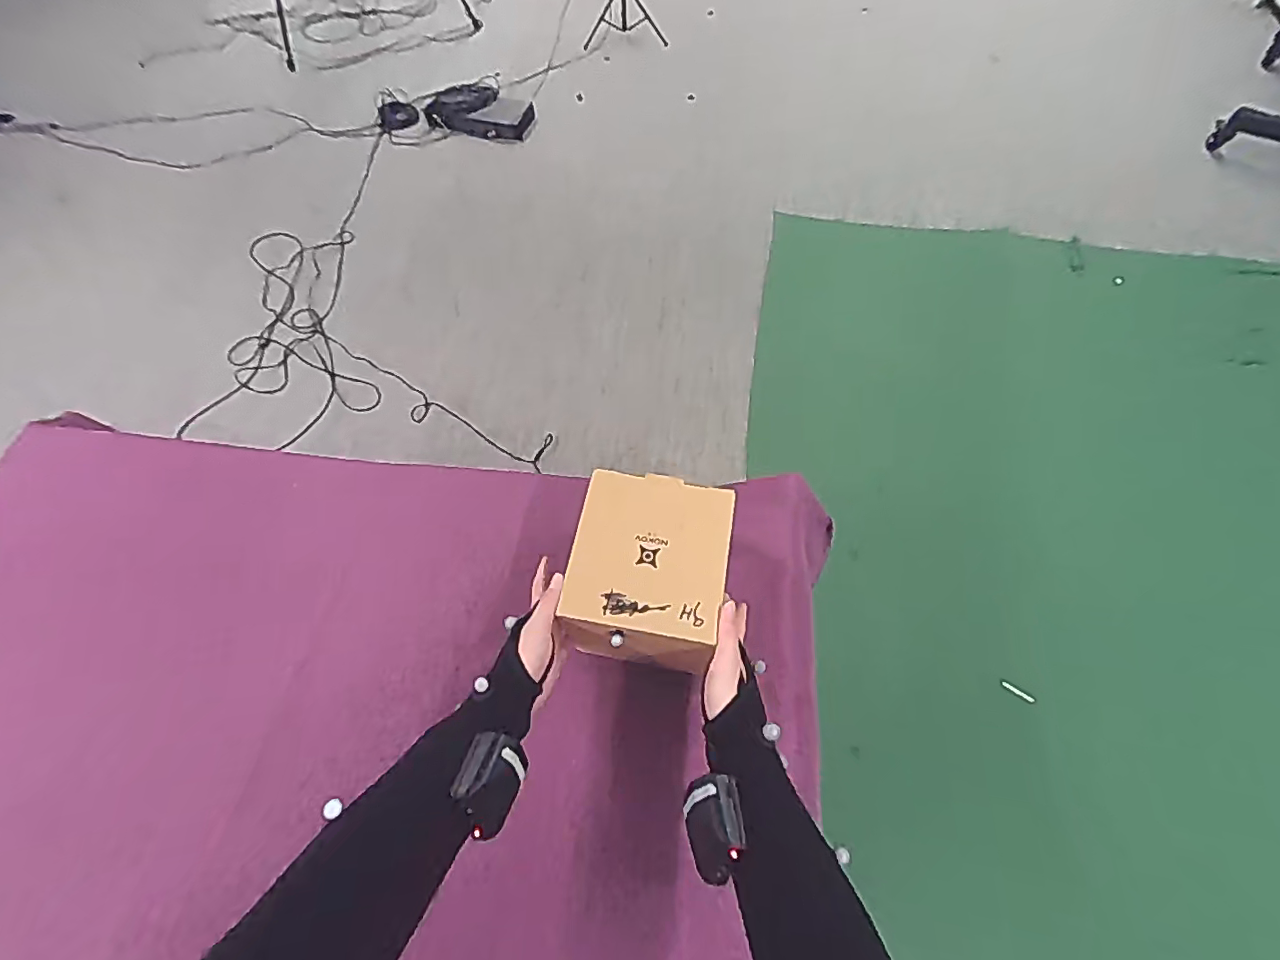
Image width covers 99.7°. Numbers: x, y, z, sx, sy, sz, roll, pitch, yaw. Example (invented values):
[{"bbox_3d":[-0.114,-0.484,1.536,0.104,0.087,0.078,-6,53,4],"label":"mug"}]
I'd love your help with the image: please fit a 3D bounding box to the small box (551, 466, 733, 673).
[{"bbox_3d":[0.008,0.109,0.635,0.168,0.176,0.179,9,61,7],"label":"small box"}]
